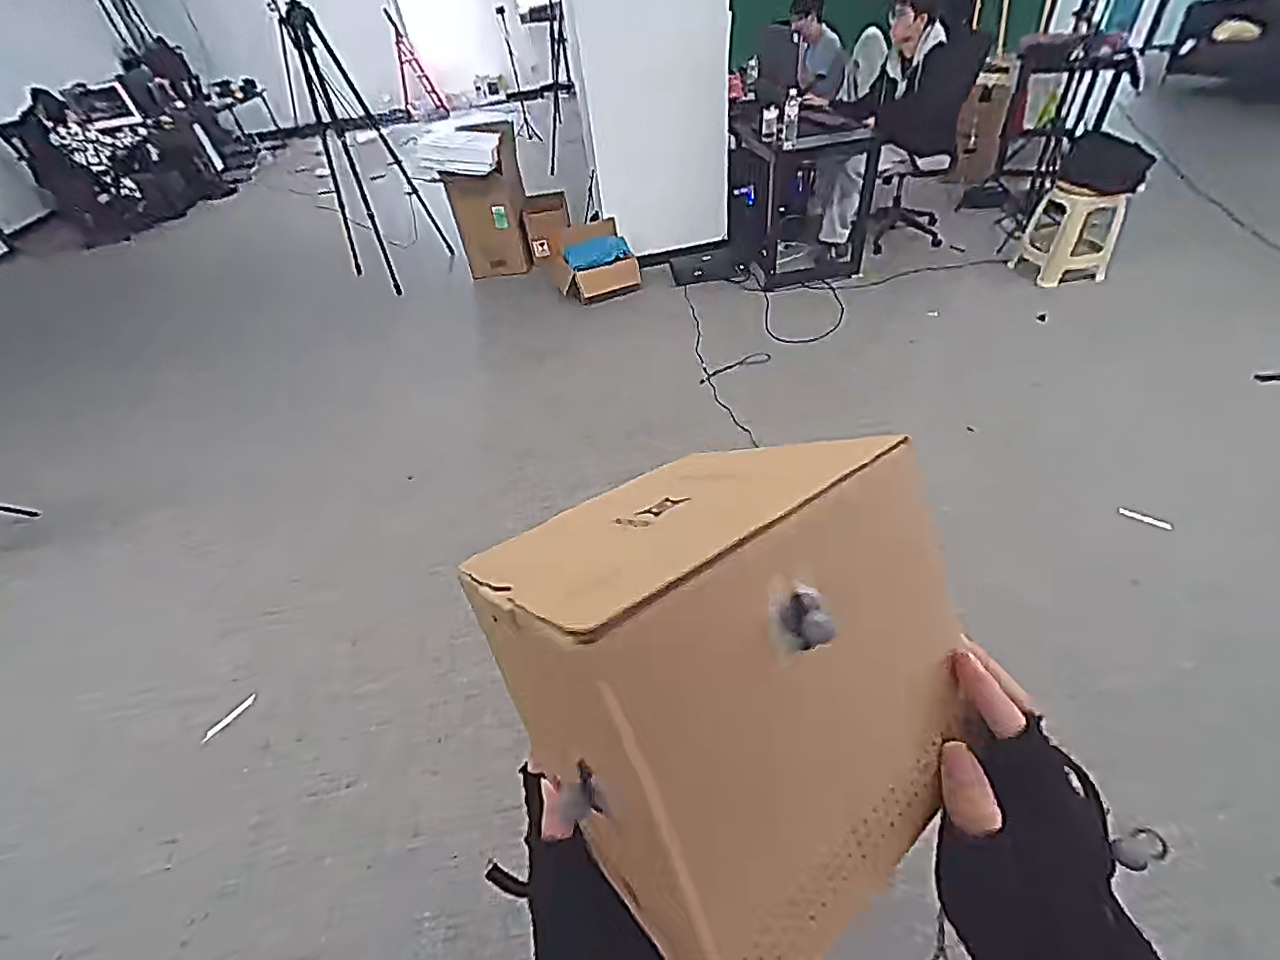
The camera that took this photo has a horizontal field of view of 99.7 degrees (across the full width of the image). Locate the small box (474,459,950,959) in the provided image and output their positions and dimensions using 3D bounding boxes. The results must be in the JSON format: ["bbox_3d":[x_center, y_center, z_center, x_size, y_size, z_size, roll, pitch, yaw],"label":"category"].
[{"bbox_3d":[0.039,0.101,0.299,0.179,0.176,0.168,-26,12,-30],"label":"small box"}]
